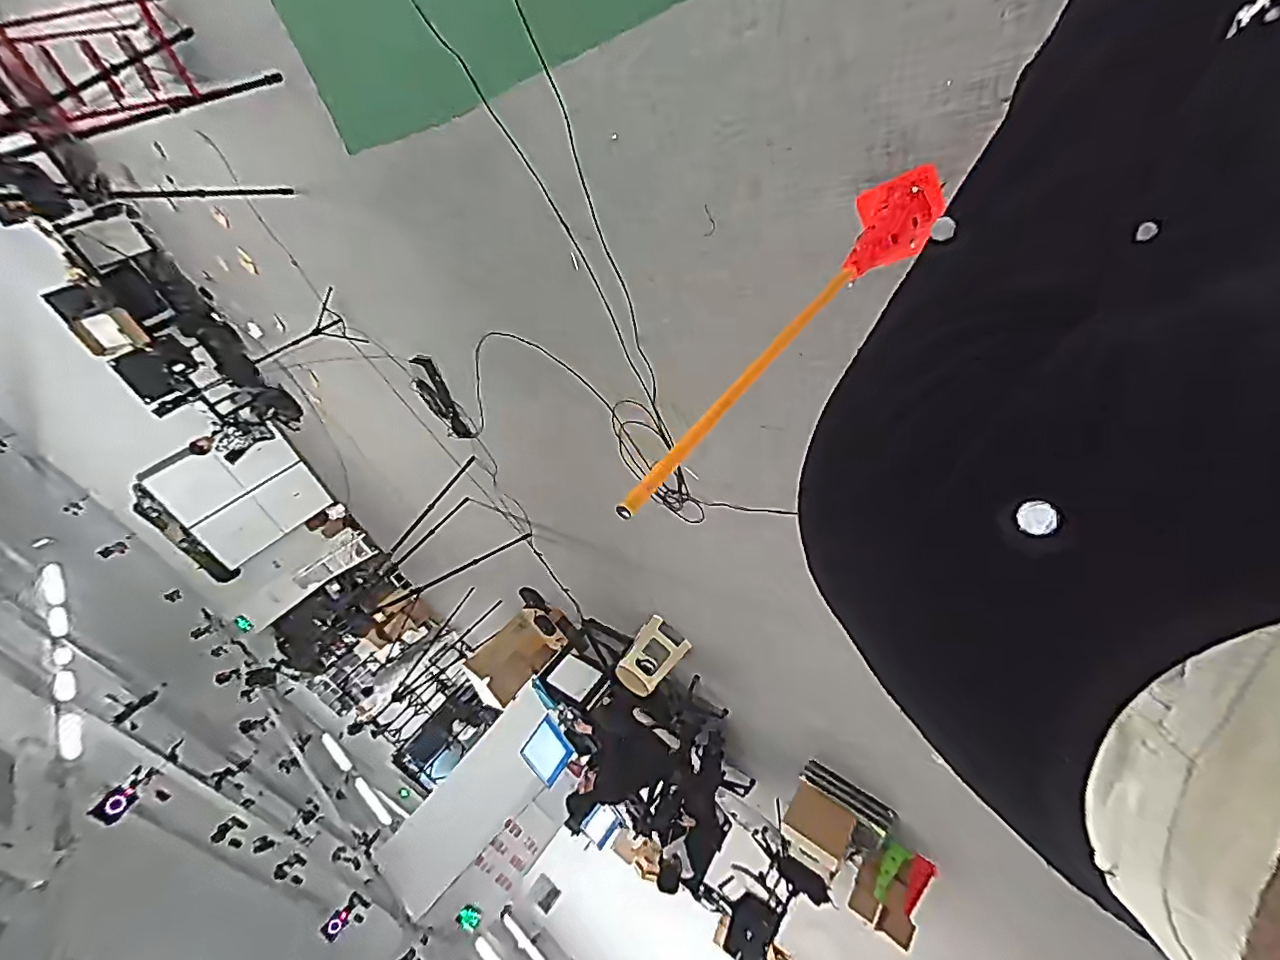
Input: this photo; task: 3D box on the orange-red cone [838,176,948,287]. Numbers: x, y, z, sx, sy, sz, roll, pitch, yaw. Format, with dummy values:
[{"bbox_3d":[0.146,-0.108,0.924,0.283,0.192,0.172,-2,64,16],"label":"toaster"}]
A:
[{"bbox_3d":[0.573,-0.556,1.312,0.199,0.360,0.198,0,125,51],"label":"orange-red cone"}]
